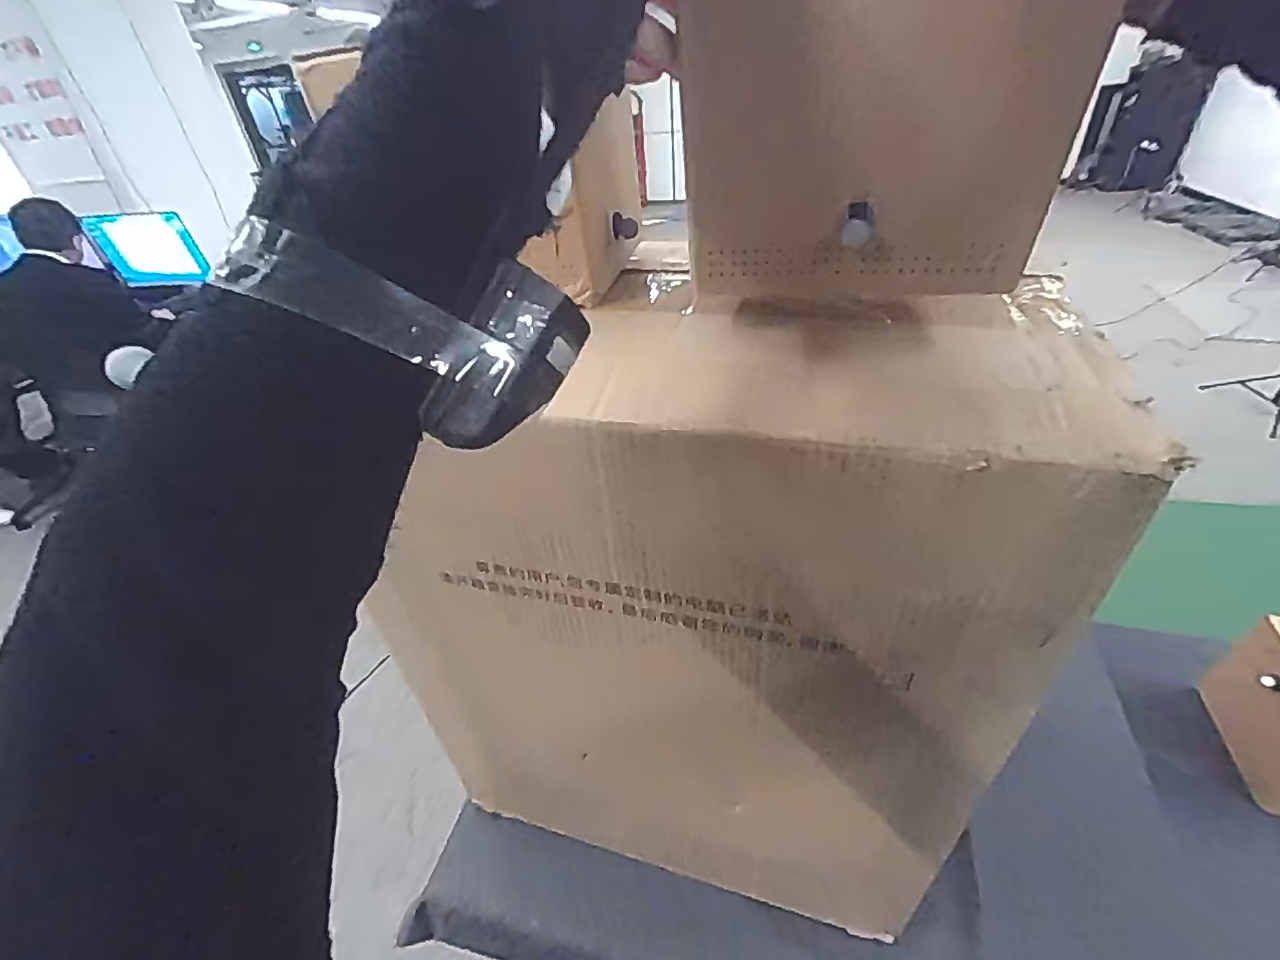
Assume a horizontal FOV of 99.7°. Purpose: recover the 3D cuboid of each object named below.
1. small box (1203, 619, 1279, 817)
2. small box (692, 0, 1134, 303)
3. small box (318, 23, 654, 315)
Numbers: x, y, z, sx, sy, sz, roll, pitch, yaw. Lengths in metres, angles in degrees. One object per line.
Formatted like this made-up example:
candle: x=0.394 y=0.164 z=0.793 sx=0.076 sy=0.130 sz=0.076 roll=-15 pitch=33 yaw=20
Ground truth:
small box: x=0.856 y=0.304 z=0.656 sx=0.168 sy=0.176 sz=0.179 roll=7 pitch=38 yaw=18
small box: x=0.131 y=-0.216 z=0.314 sx=0.179 sy=0.176 sz=0.168 roll=5 pitch=46 yaw=13
small box: x=-0.094 y=-0.240 z=0.426 sx=0.179 sy=0.176 sz=0.168 roll=4 pitch=42 yaw=13
